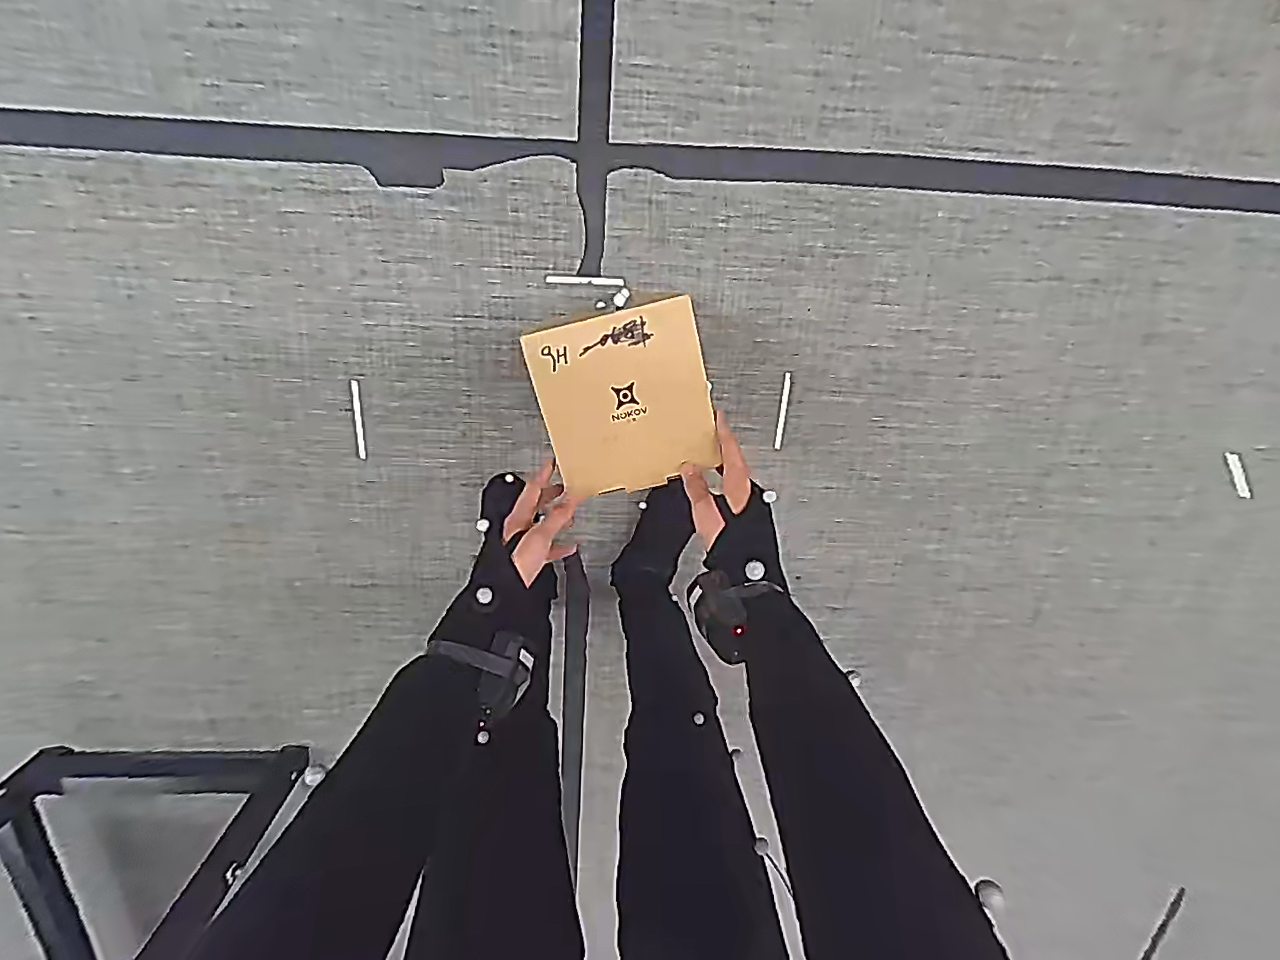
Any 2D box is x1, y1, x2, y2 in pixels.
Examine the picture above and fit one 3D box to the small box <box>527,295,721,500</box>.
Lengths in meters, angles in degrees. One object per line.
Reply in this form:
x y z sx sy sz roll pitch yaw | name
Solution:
-0.015 -0.102 0.612 0.168 0.176 0.179 -13 111 1 | small box
